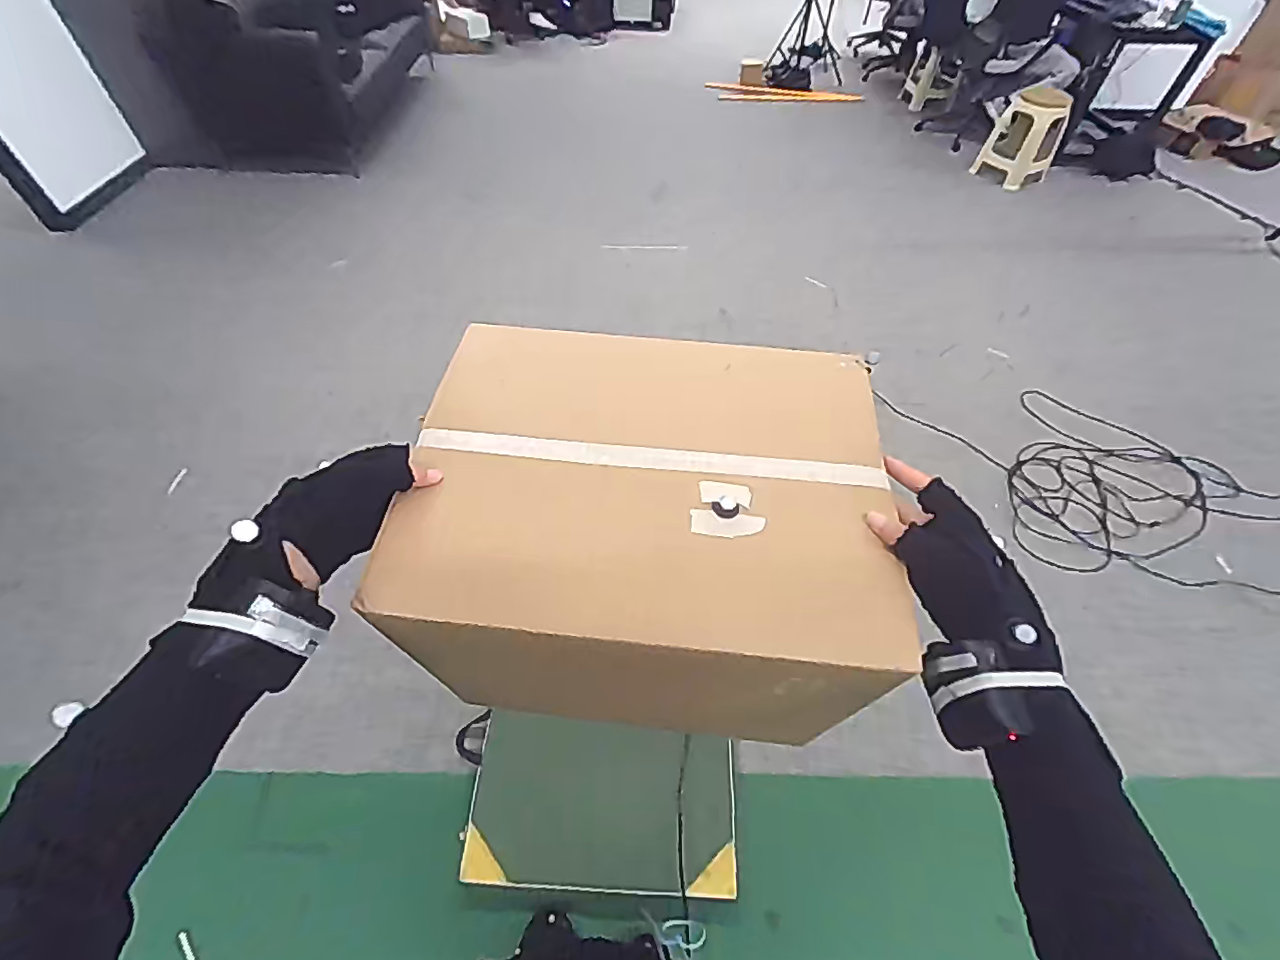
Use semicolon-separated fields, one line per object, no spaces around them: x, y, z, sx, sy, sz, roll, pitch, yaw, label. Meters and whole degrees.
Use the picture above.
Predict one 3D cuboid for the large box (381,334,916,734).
0.011;0.072;0.600;0.408;0.320;0.320;6;56;2;large box
